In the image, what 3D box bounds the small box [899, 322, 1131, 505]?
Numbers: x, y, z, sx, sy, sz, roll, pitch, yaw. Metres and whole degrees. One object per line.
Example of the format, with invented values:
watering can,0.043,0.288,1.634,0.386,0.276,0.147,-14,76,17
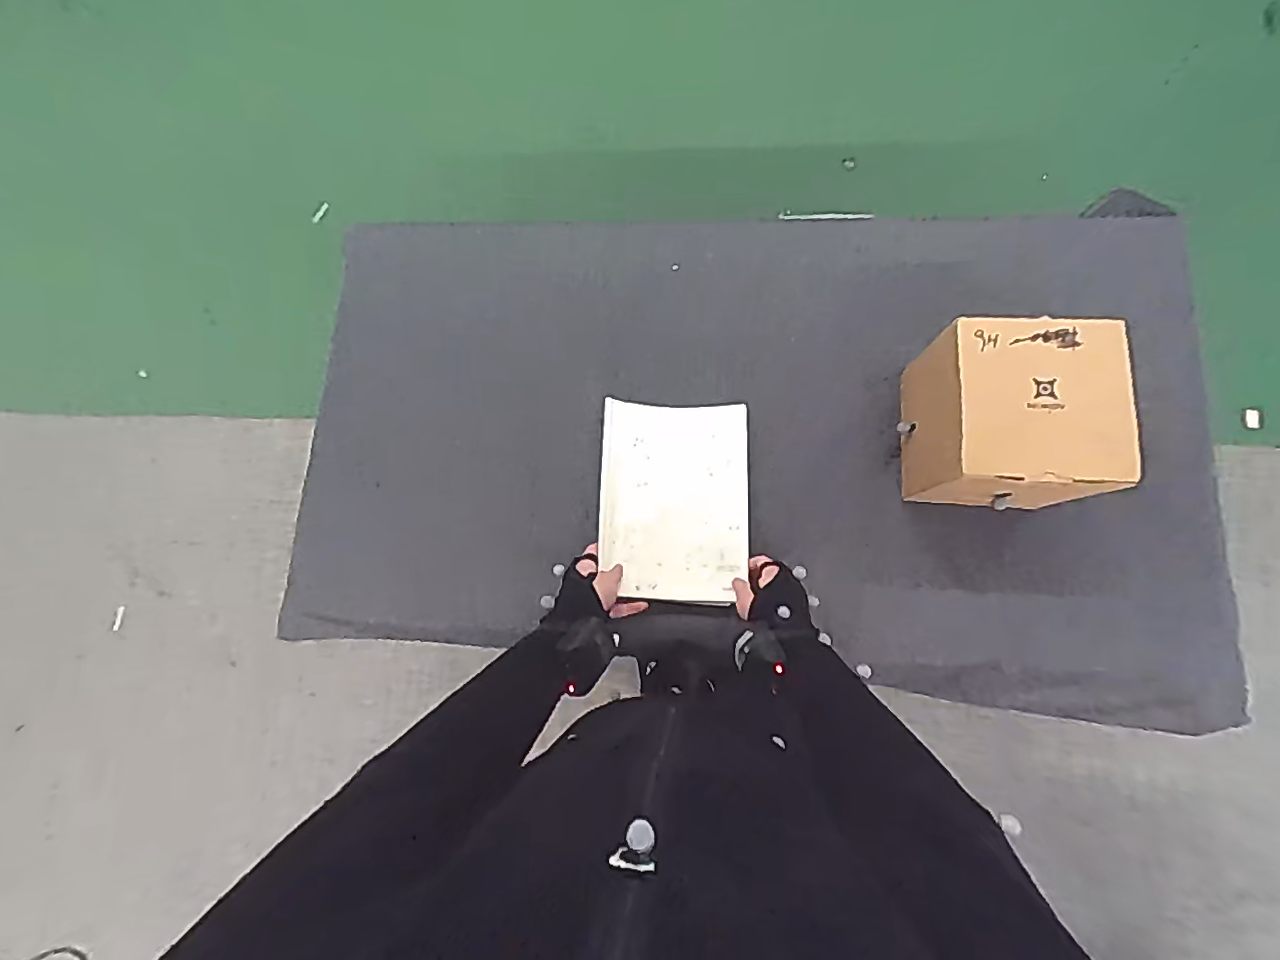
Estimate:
small box,0.419,-0.066,0.633,0.168,0.176,0.179,3,81,6
